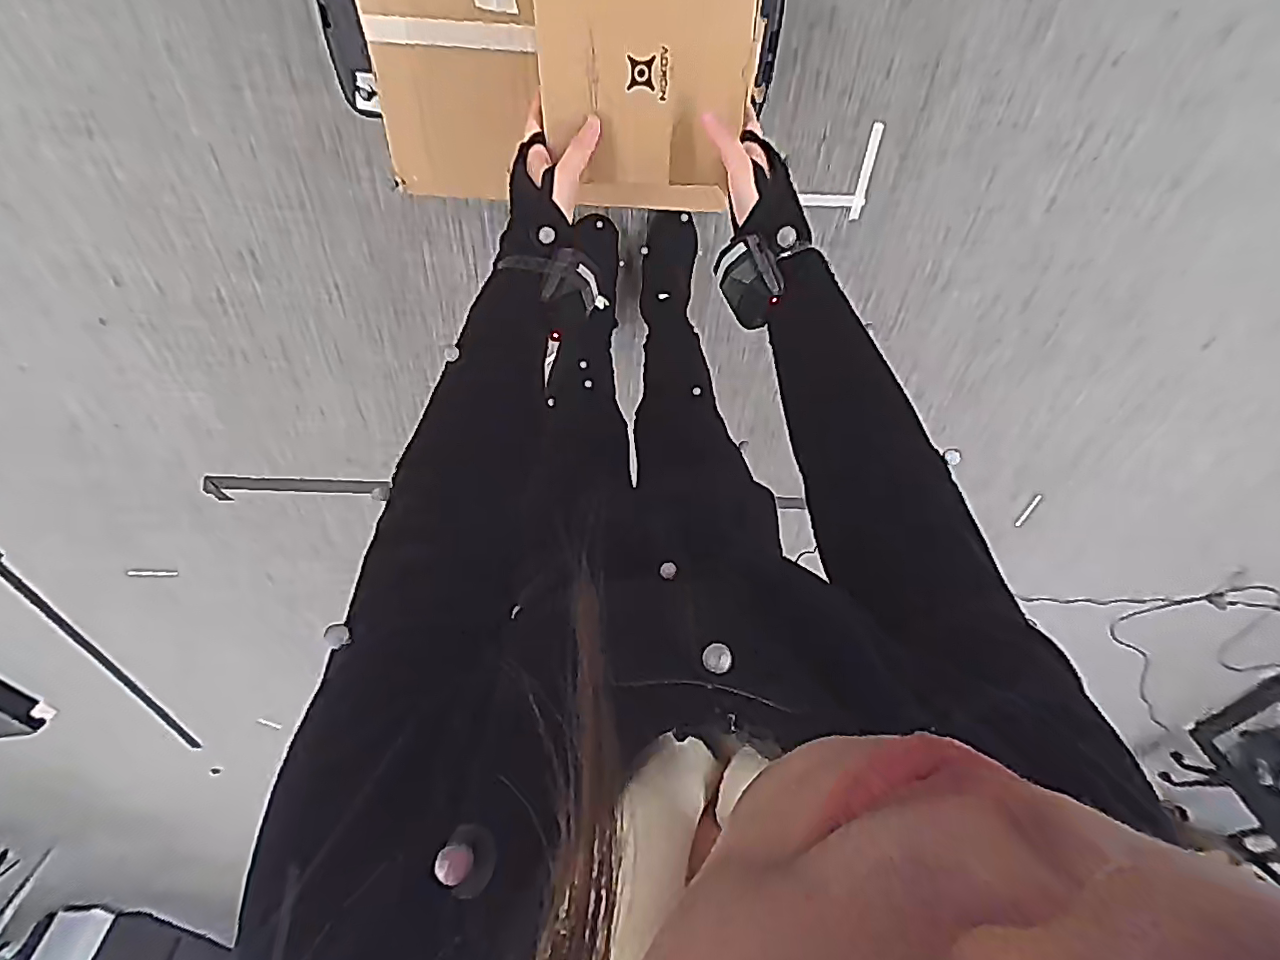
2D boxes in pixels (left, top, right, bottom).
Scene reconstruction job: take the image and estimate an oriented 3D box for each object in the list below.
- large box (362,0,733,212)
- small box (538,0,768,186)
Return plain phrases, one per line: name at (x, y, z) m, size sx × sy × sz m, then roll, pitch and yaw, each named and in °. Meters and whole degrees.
large box at (-0.082, -0.550, 0.671) m, size 0.408 × 0.320 × 0.320 m, roll 2°, pitch 130°, yaw -3°
small box at (0.006, -0.381, 0.493) m, size 0.179 × 0.176 × 0.168 m, roll 1°, pitch 130°, yaw -2°
